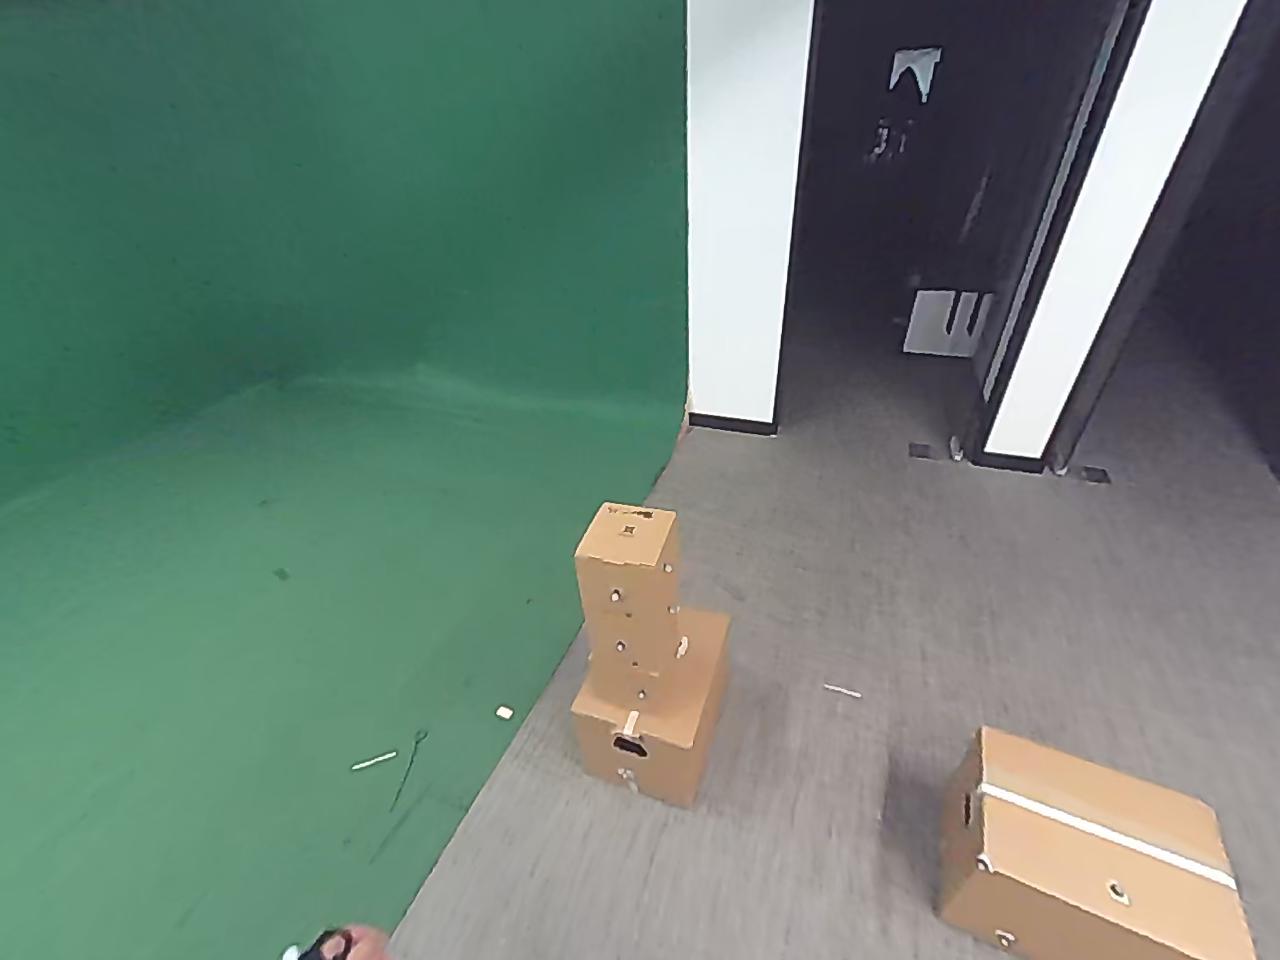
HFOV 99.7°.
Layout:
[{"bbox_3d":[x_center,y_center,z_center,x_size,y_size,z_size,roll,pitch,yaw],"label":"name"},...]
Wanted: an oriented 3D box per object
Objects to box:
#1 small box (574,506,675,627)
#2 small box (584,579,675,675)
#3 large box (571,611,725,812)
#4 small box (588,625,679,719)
[{"bbox_3d":[-0.022,0.182,1.139,0.168,0.176,0.179,8,37,16],"label":"small box"},{"bbox_3d":[-0.014,0.316,1.235,0.168,0.176,0.179,7,35,14],"label":"small box"},{"bbox_3d":[0.045,0.616,1.511,0.320,0.320,0.408,10,36,18],"label":"large box"},{"bbox_3d":[-0.009,0.453,1.324,0.179,0.176,0.168,8,35,18],"label":"small box"}]
